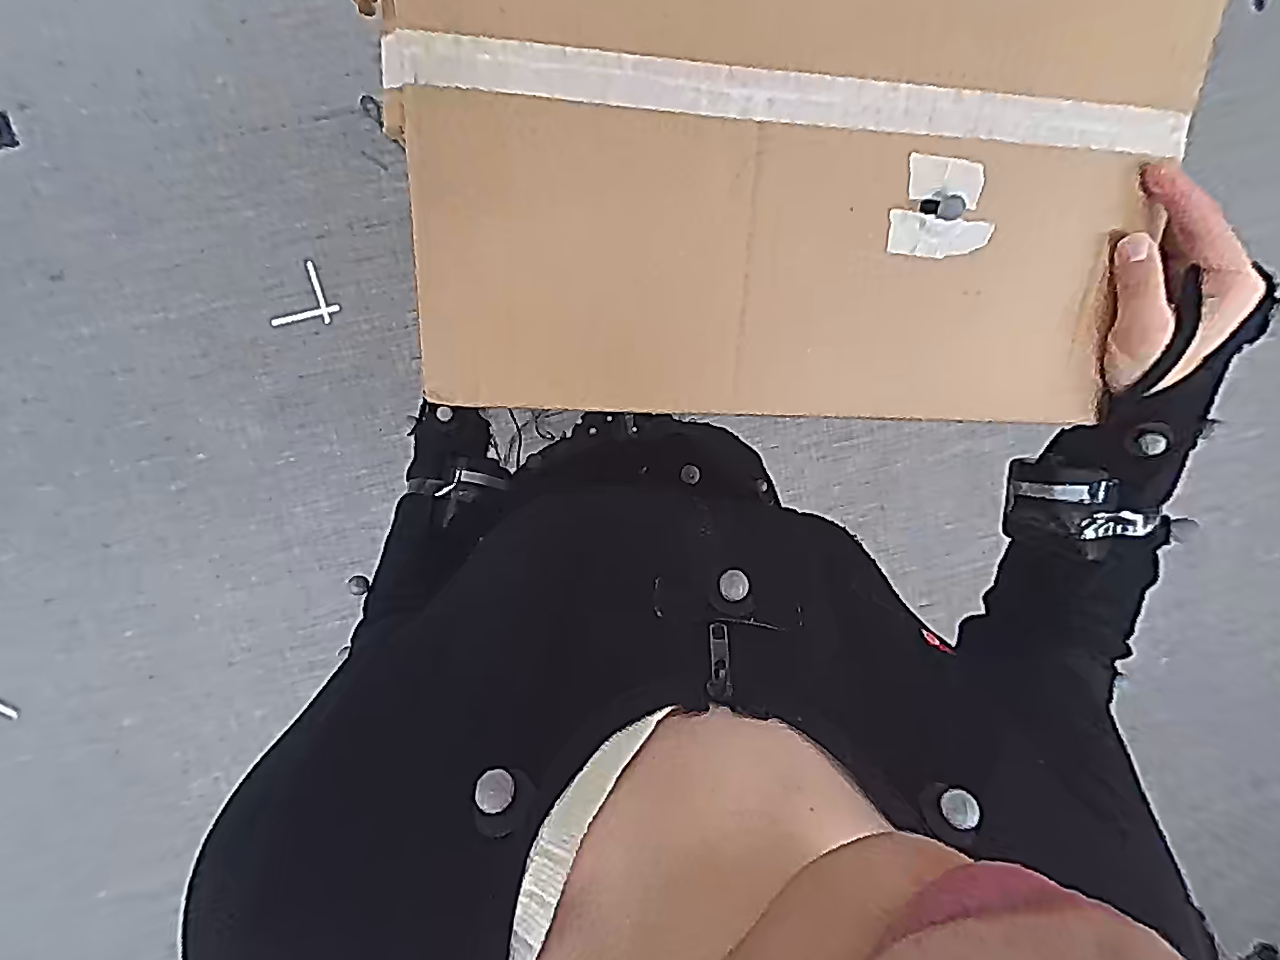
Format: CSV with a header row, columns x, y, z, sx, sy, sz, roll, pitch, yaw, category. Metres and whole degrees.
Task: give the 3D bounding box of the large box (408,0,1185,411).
x,y,z,sx,sy,sz,roll,pitch,yaw,category
0.068,-0.231,0.422,0.408,0.320,0.320,-1,107,-8,large box
